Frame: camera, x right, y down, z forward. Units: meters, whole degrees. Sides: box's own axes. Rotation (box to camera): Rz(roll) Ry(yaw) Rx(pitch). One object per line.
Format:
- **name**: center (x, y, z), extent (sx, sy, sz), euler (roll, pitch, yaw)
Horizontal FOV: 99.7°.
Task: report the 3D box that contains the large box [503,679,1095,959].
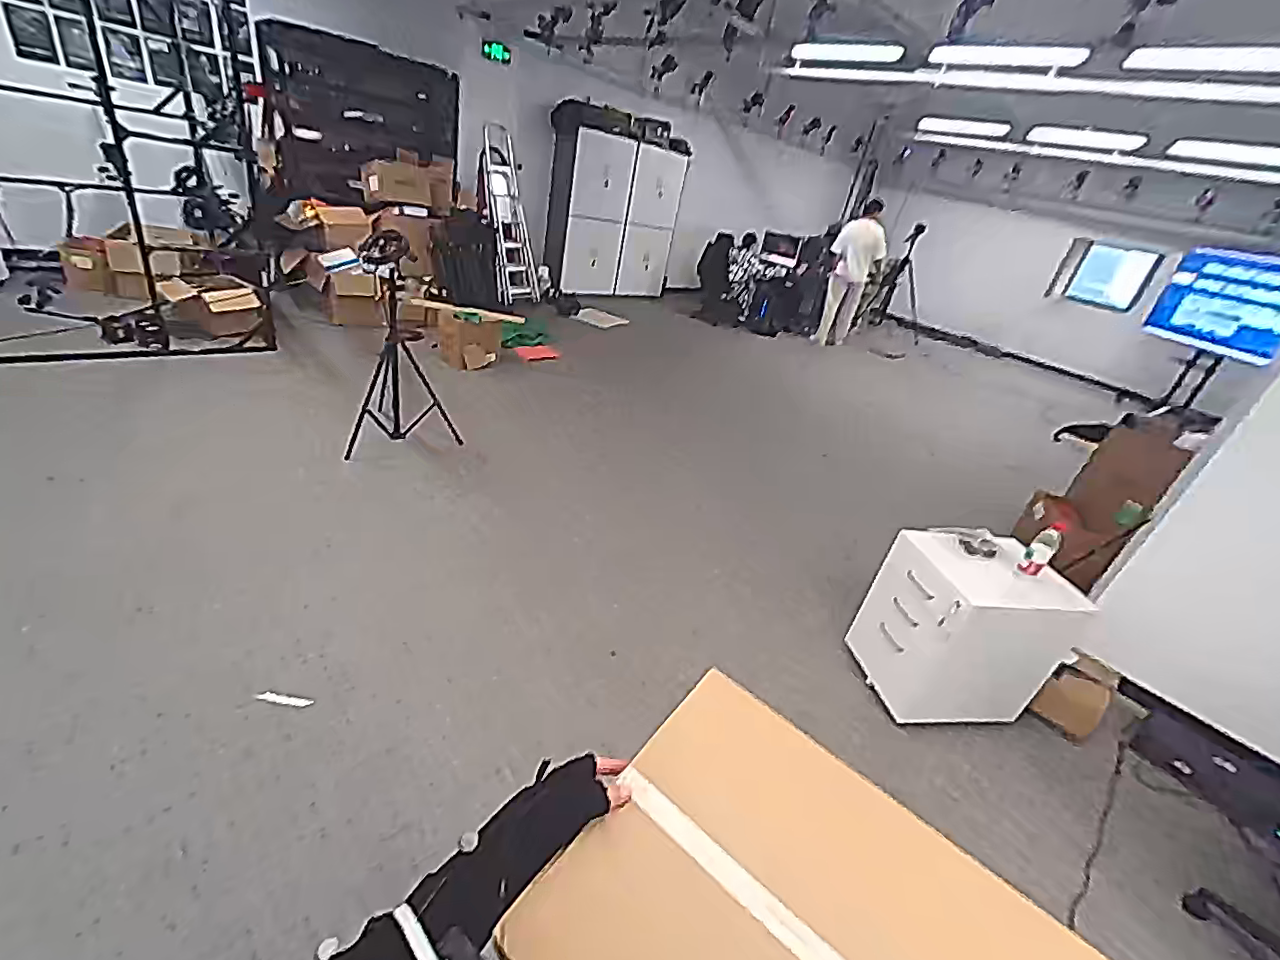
- **large box**: center (0.119, 0.493, 0.526), extent (0.408, 0.320, 0.320), euler (31, 45, 26)
